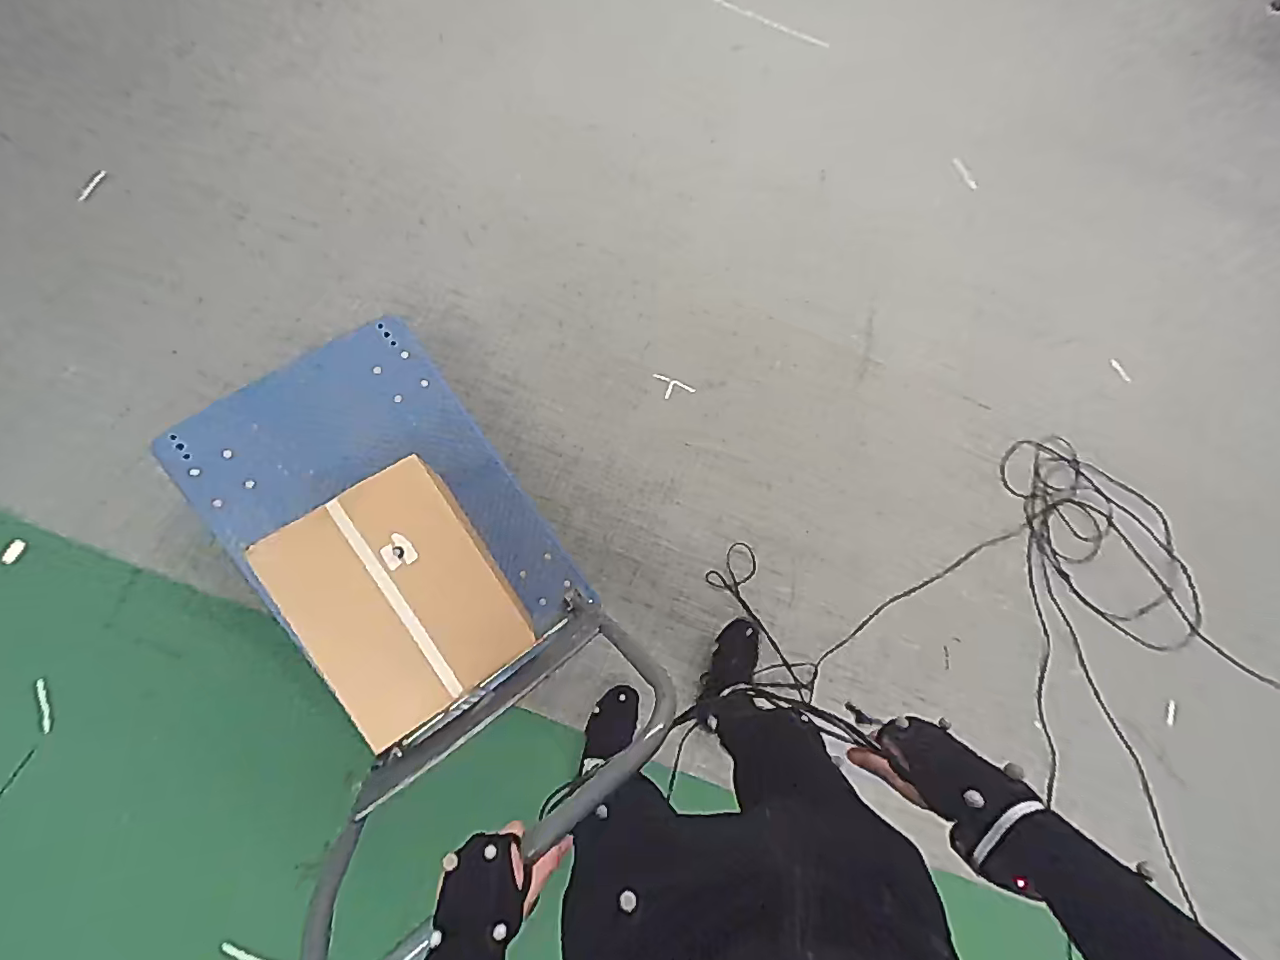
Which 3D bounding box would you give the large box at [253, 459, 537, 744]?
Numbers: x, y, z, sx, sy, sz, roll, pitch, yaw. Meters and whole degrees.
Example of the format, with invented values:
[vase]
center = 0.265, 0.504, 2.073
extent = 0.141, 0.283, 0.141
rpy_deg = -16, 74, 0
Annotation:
[large box]
center = -0.445, 0.222, 1.084
extent = 0.320, 0.320, 0.408
rpy_deg = -33, 91, -15
